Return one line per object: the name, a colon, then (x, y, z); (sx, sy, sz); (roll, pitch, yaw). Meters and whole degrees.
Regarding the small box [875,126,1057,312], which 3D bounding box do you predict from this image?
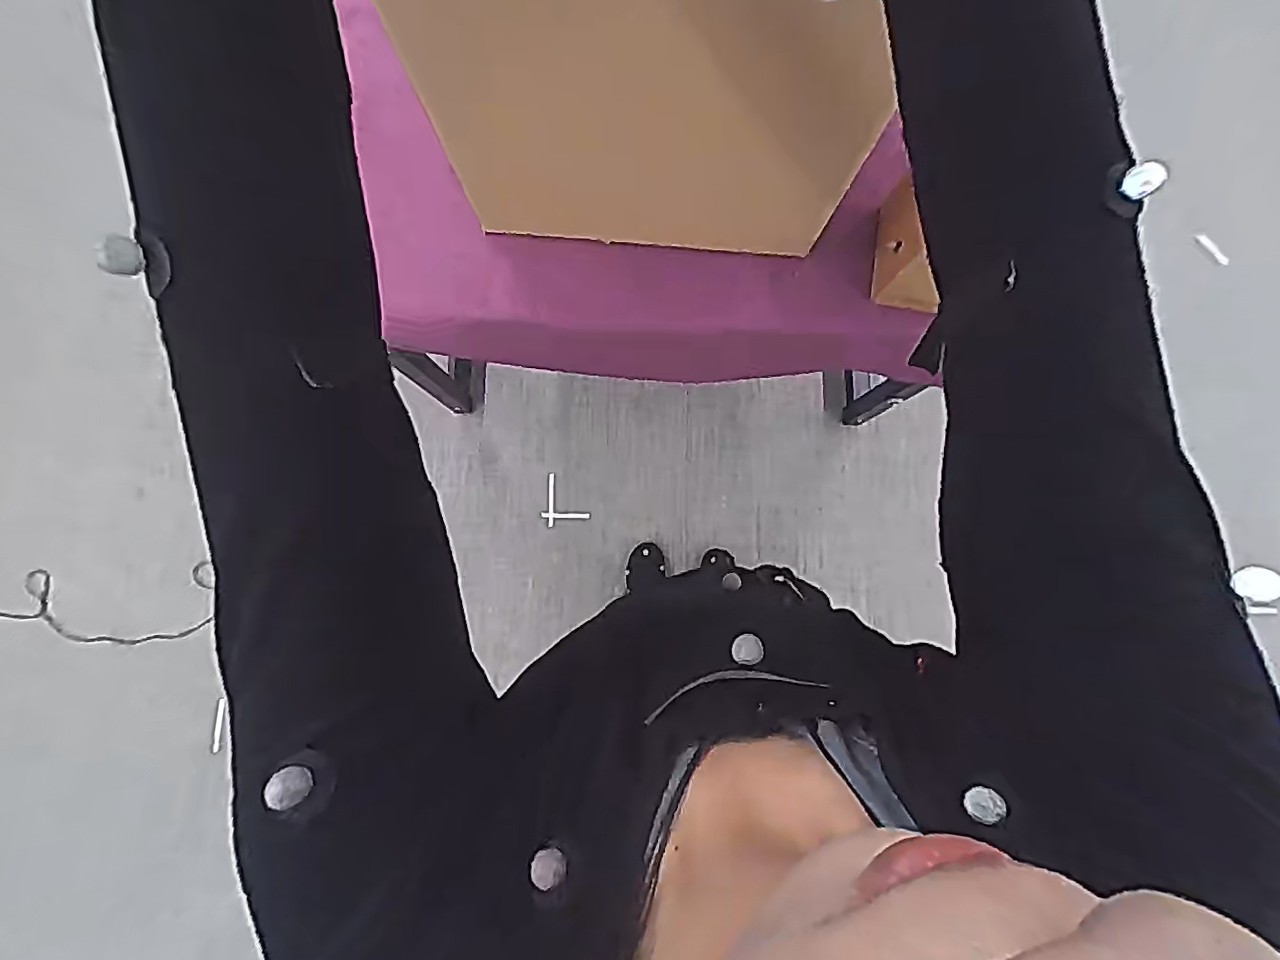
small box: (0.463, -0.368, 0.792); (0.168, 0.176, 0.179); (9, 81, 0)
